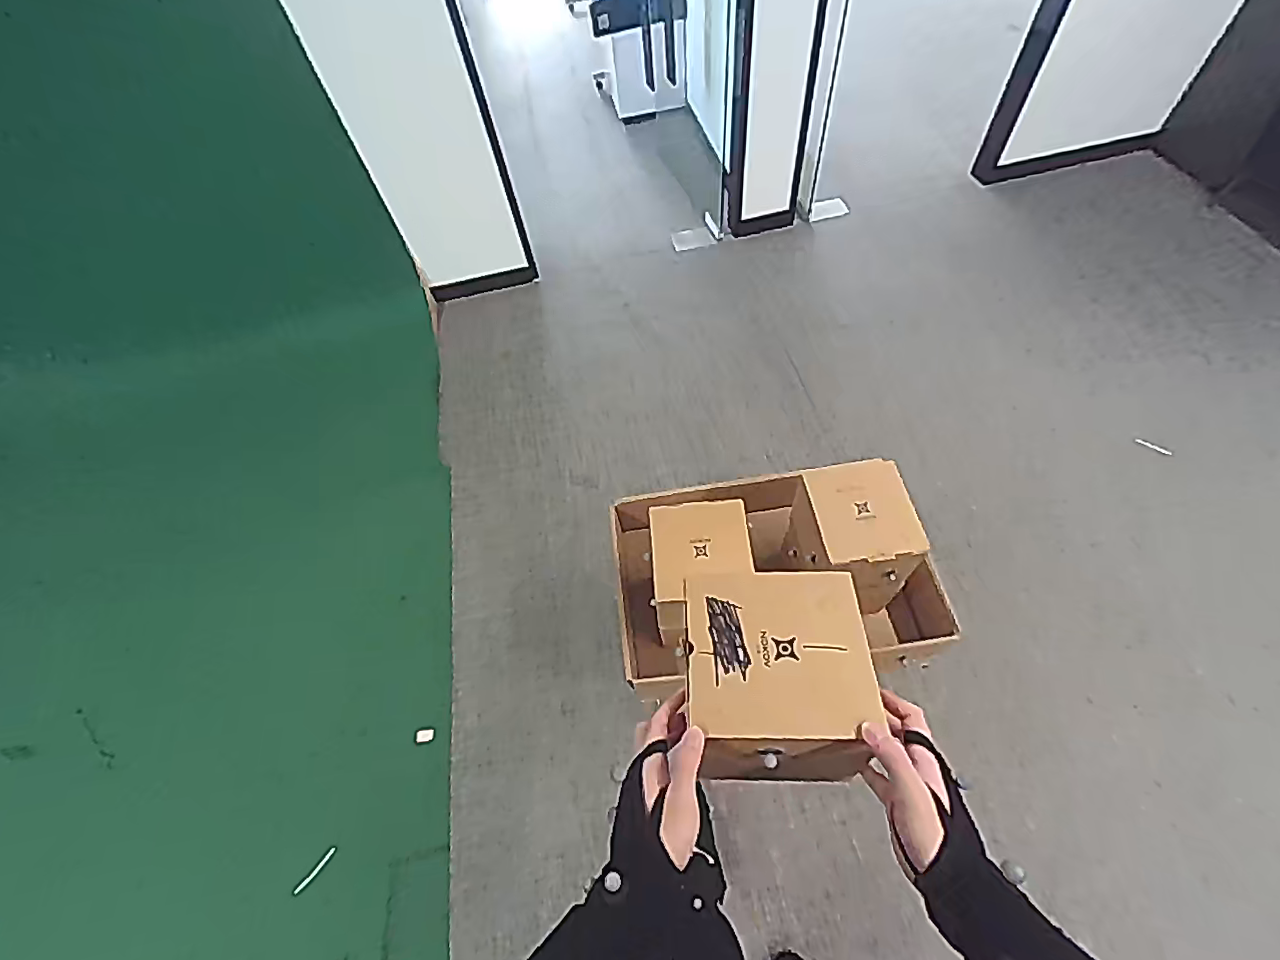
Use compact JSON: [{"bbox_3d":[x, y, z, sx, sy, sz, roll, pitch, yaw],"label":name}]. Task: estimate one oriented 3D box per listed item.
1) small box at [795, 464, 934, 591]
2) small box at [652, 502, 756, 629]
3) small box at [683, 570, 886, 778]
[{"bbox_3d":[0.387,0.097,0.969,0.168,0.176,0.179,-7,58,1],"label":"small box"},{"bbox_3d":[0.115,0.160,0.965,0.168,0.176,0.179,-5,57,3],"label":"small box"},{"bbox_3d":[0.137,0.211,0.581,0.179,0.176,0.168,-1,50,5],"label":"small box"}]
